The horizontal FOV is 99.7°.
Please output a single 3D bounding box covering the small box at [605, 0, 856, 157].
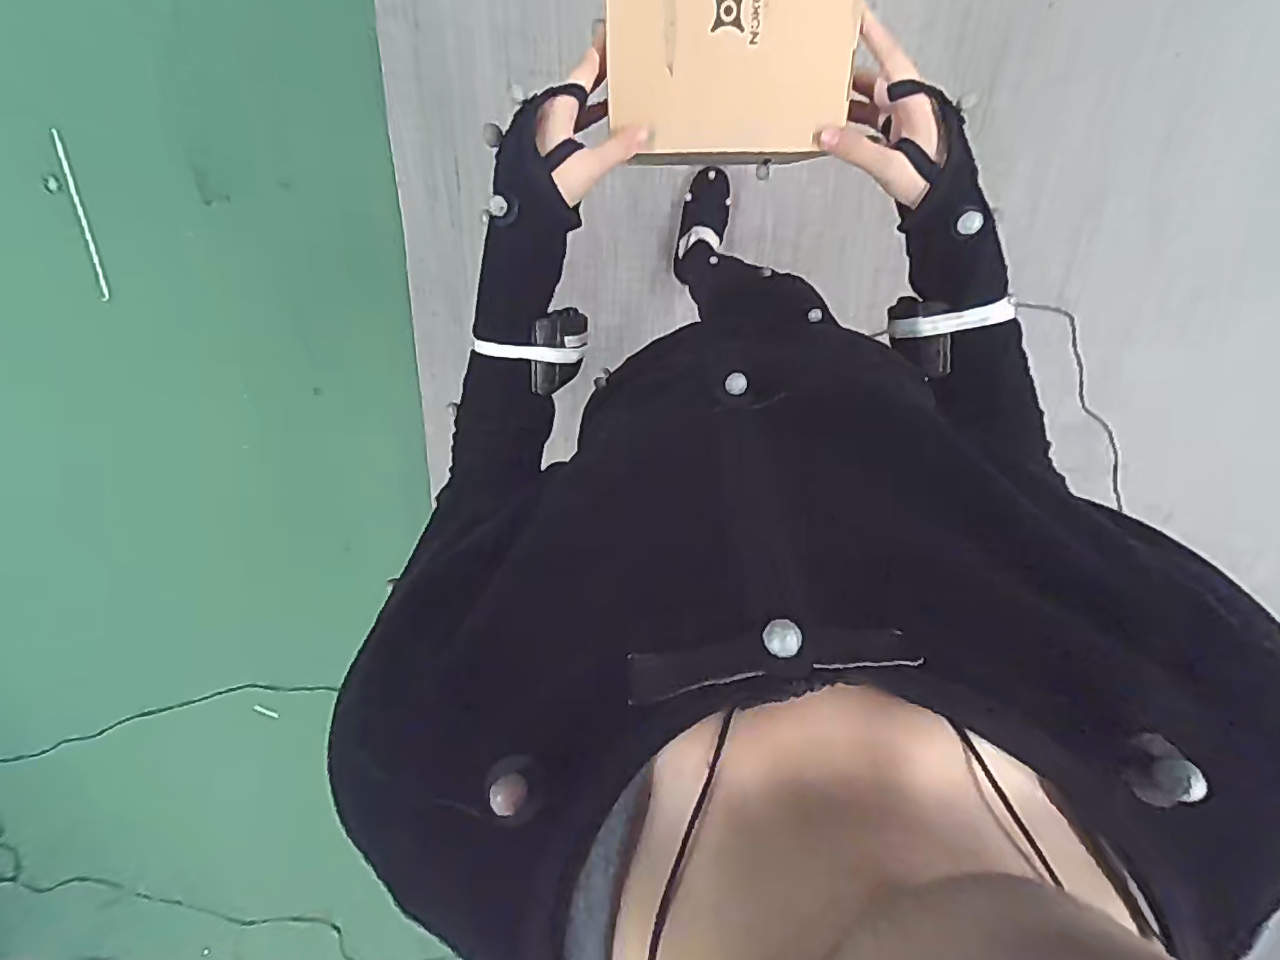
[{"bbox_3d":[0.062,-0.368,0.440,0.179,0.176,0.168,0,116,1],"label":"small box"}]
